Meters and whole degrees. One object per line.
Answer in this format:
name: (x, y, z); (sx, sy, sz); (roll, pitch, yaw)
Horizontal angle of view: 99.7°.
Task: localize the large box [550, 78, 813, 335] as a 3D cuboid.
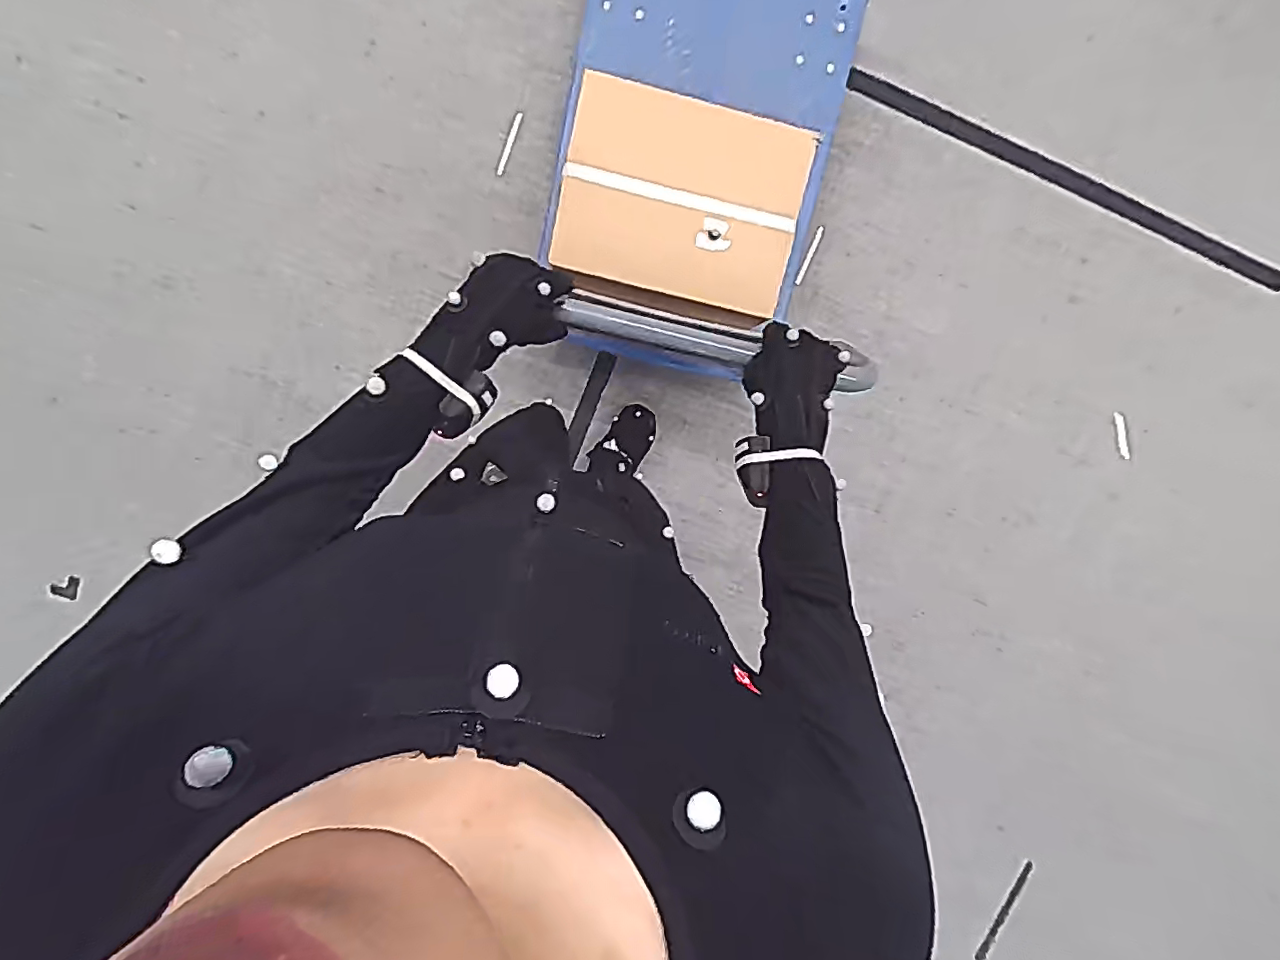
large box: (0.059, -0.494, 1.061); (0.408, 0.320, 0.320); (12, 99, -5)
